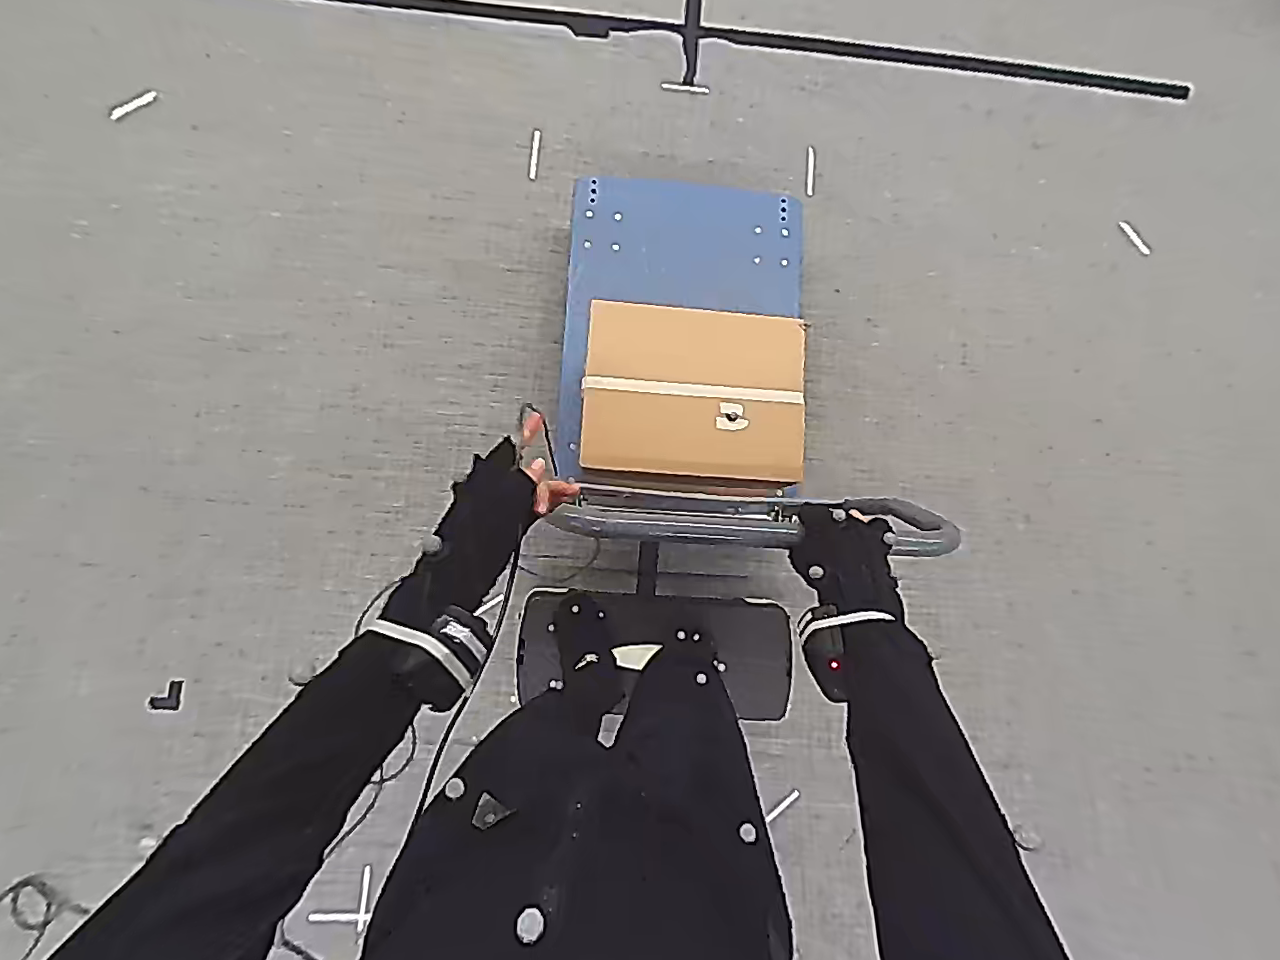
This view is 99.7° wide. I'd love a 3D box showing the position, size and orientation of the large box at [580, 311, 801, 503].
[{"bbox_3d":[0.083,-0.127,1.124,0.408,0.320,0.320,4,83,-5],"label":"large box"}]
